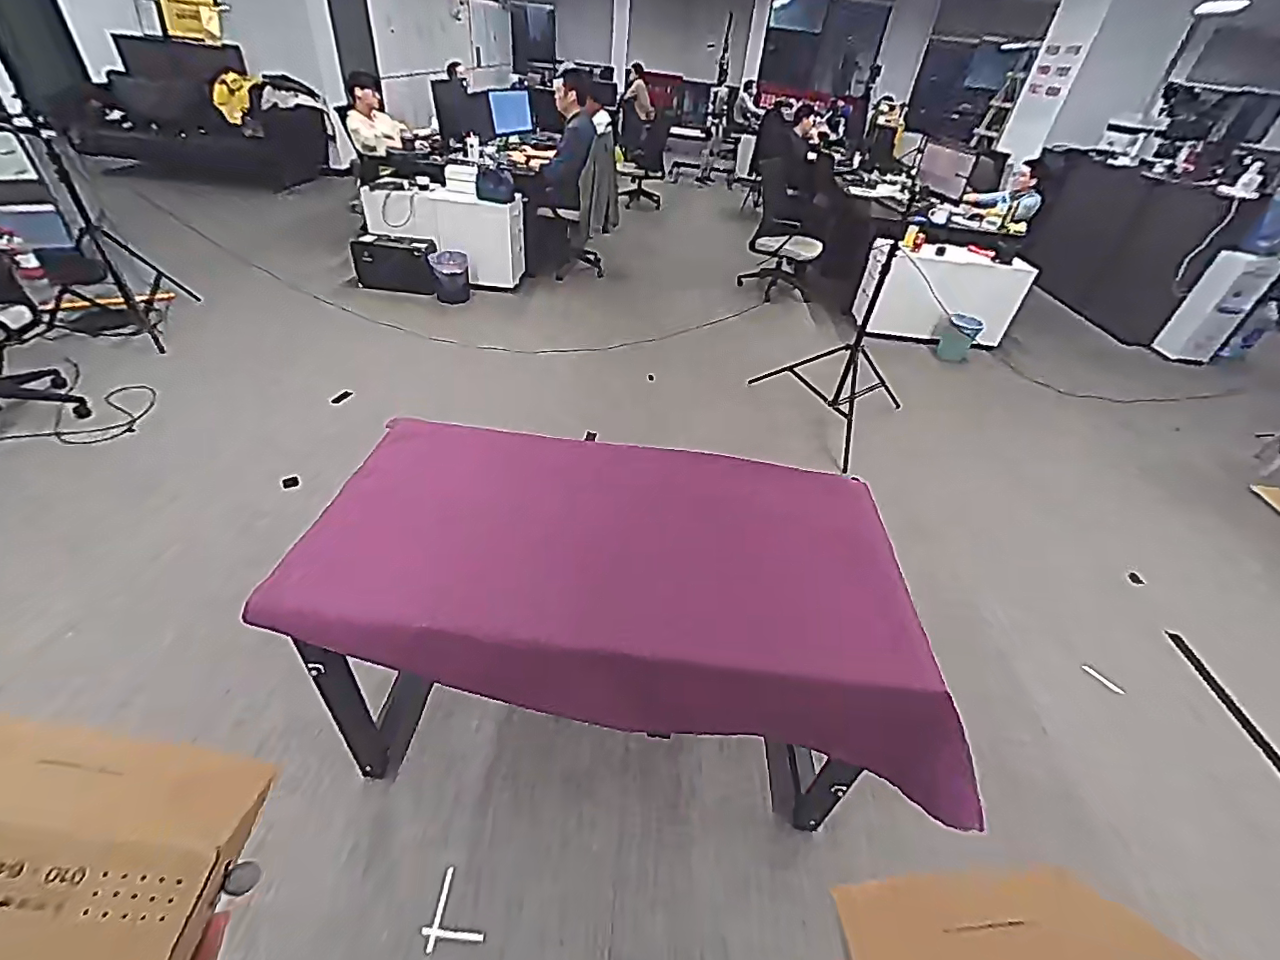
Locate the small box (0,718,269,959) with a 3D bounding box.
[{"bbox_3d":[-0.301,0.211,0.240,0.168,0.179,0.176,24,64,-19],"label":"small box"}]
